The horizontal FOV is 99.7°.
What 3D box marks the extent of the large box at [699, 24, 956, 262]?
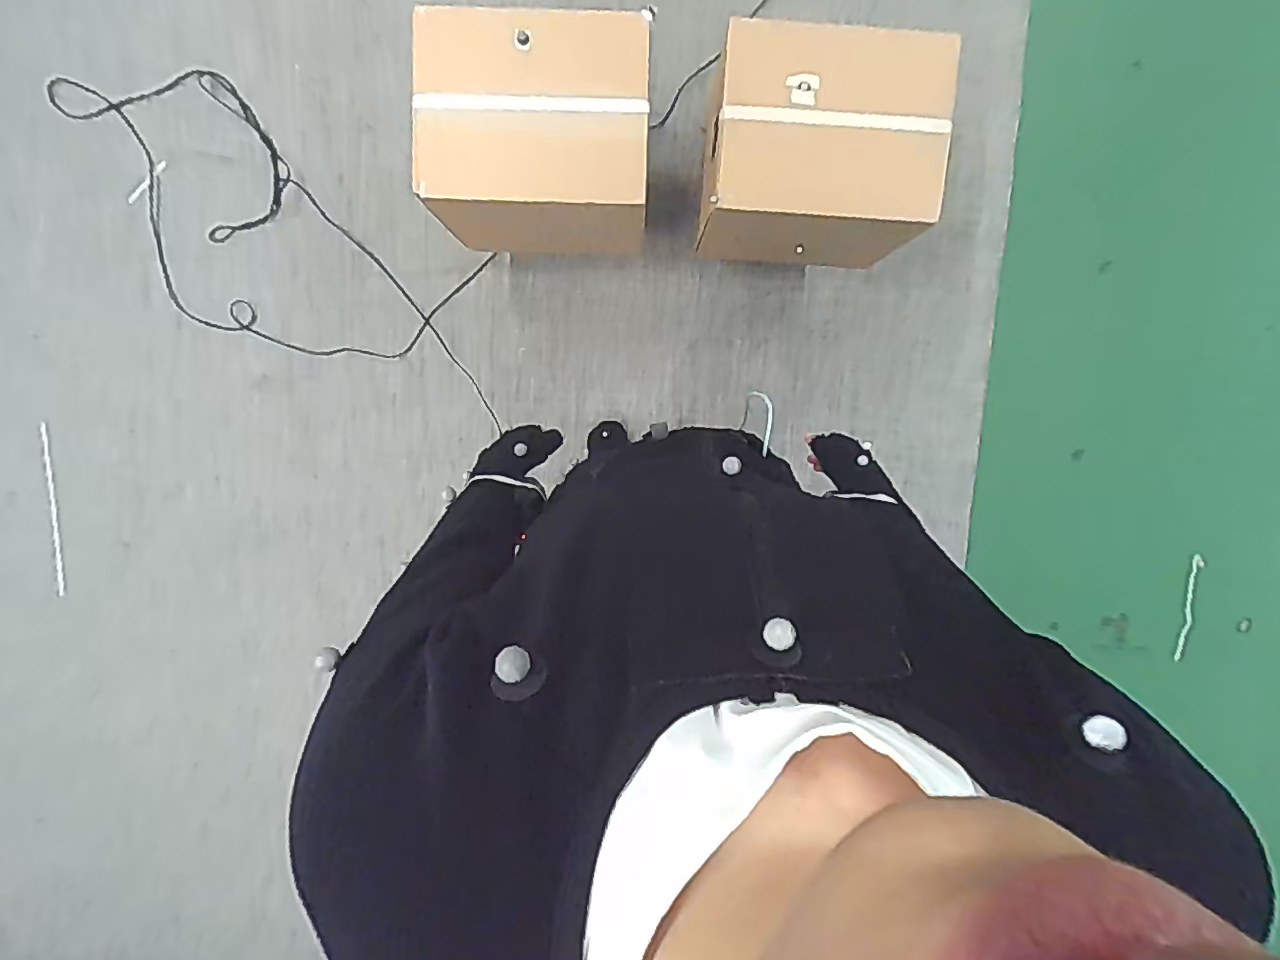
[{"bbox_3d":[0.346,-0.651,1.105,0.408,0.320,0.320,4,97,-1],"label":"large box"}]
